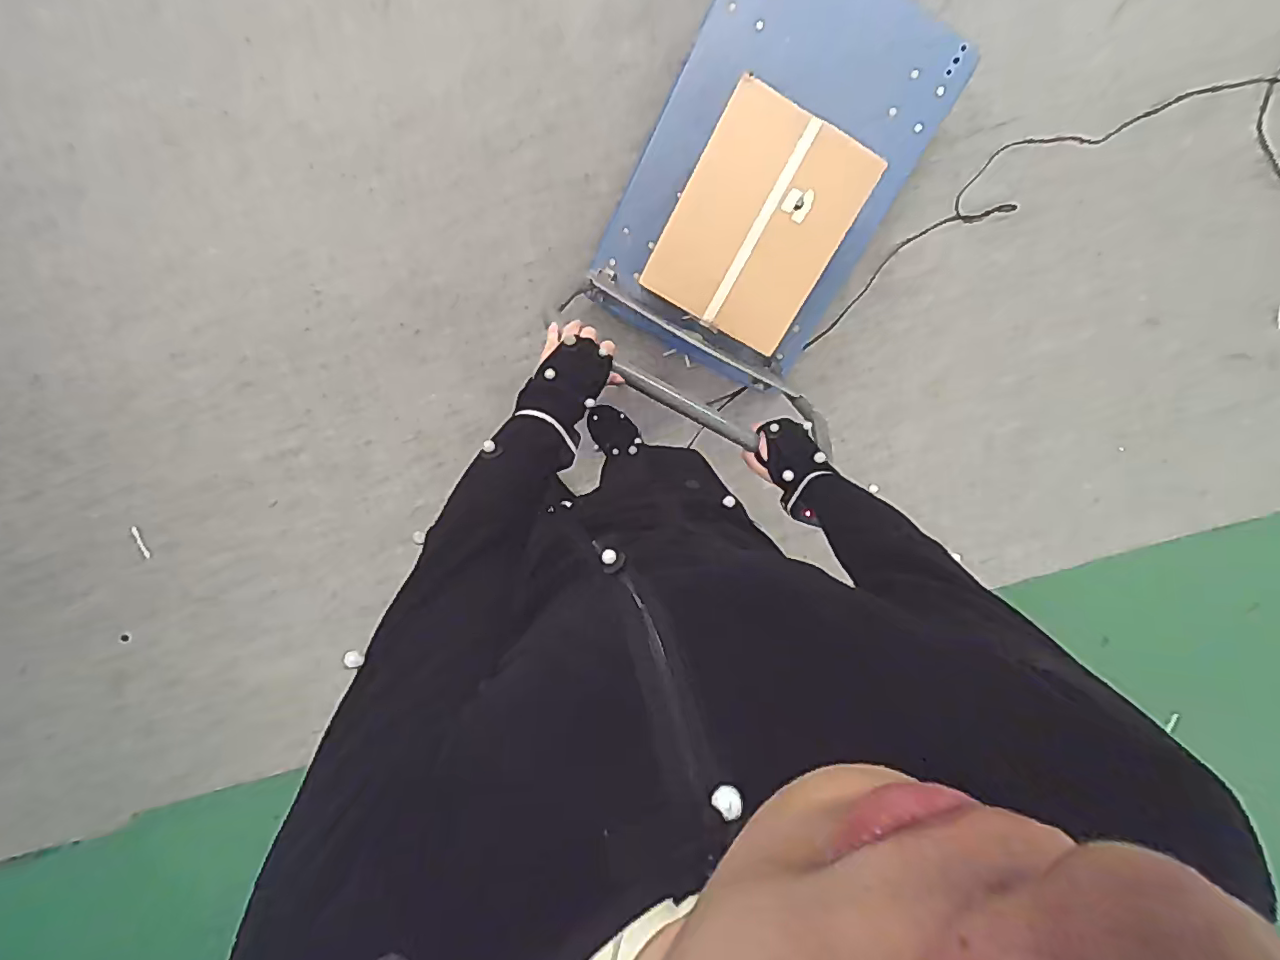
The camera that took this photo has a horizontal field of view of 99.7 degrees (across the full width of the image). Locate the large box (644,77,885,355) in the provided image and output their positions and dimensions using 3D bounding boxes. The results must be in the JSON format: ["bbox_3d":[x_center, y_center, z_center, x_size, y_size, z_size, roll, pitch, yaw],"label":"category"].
[{"bbox_3d":[0.236,-0.530,1.176,0.320,0.320,0.408,27,107,-7],"label":"large box"}]
